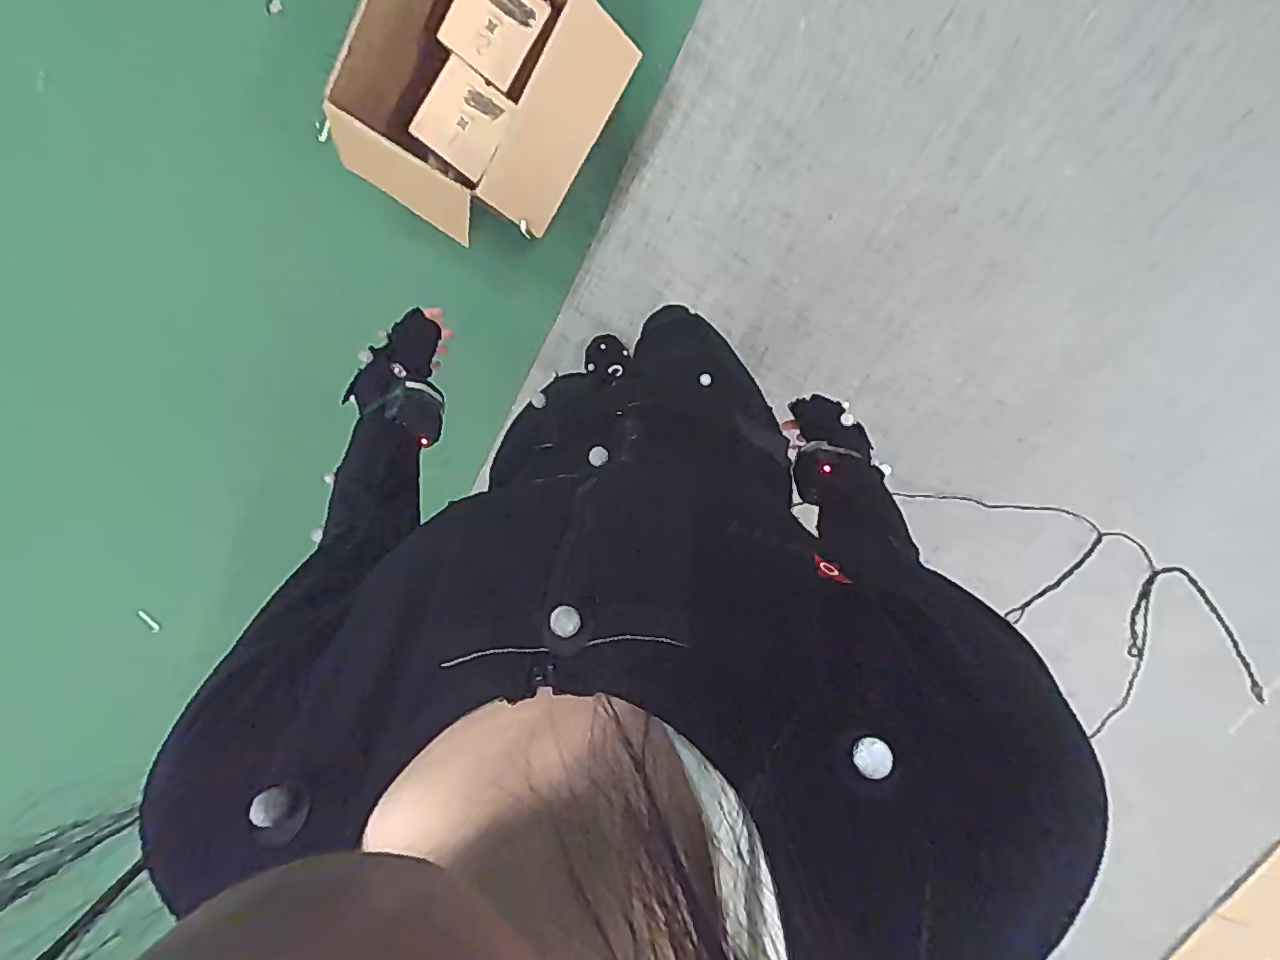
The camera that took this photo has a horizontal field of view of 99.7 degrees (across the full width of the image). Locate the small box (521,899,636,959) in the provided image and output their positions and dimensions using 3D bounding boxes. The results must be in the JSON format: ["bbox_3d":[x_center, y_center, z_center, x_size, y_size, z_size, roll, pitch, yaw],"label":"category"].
[{"bbox_3d":[-0.113,0.879,0.924,0.168,0.176,0.179,29,104,-10],"label":"small box"}]

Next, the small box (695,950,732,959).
[{"bbox_3d":[0.148,1.014,0.974,0.168,0.176,0.179,28,104,-9],"label":"small box"}]
